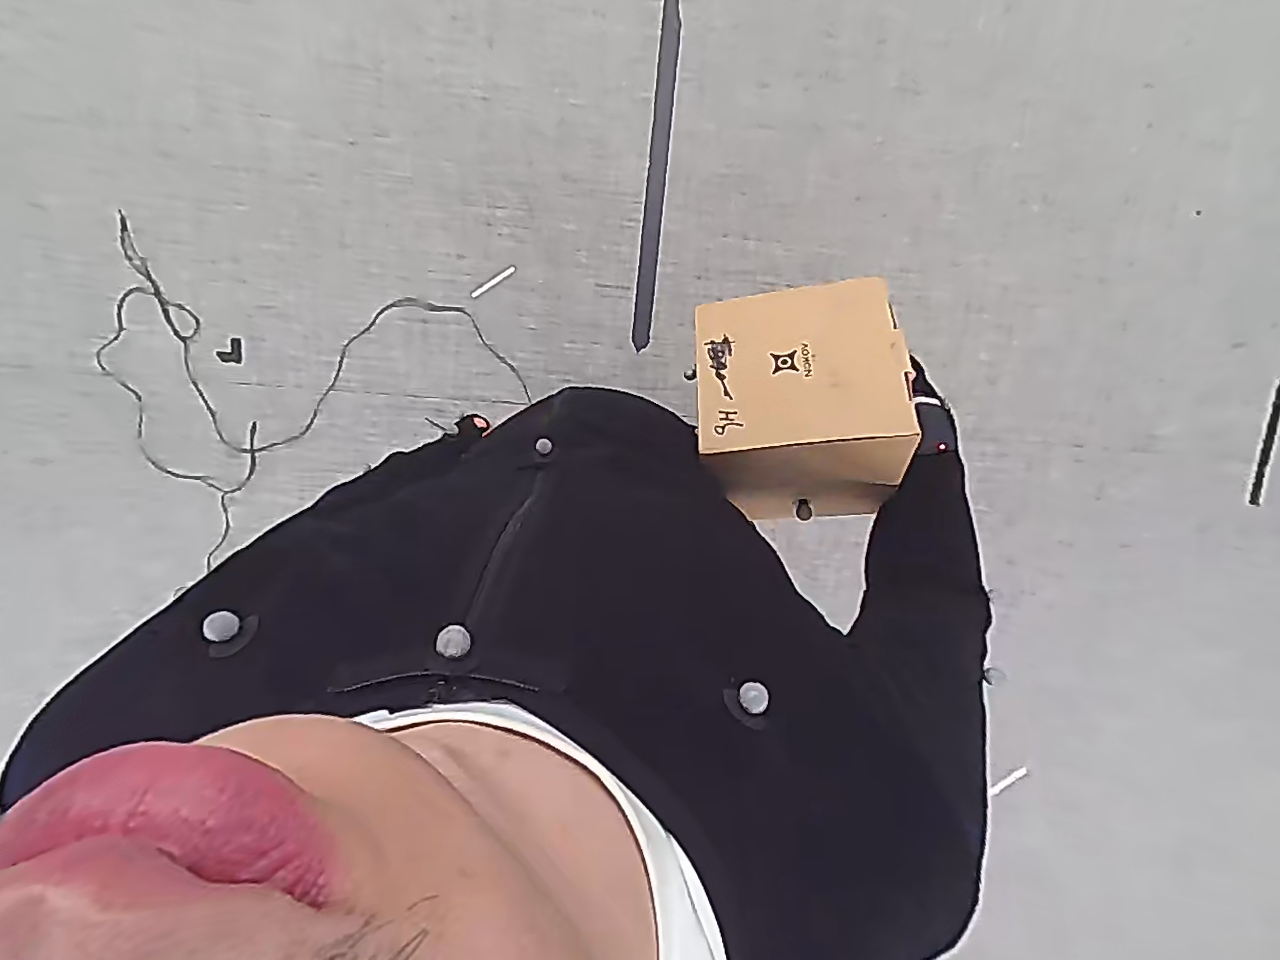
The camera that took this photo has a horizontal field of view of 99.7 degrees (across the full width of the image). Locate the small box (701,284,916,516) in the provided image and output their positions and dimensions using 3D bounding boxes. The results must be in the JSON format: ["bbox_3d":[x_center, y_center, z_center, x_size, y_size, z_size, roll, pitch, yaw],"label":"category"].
[{"bbox_3d":[0.159,-0.070,0.558,0.179,0.176,0.168,-4,63,13],"label":"small box"}]
